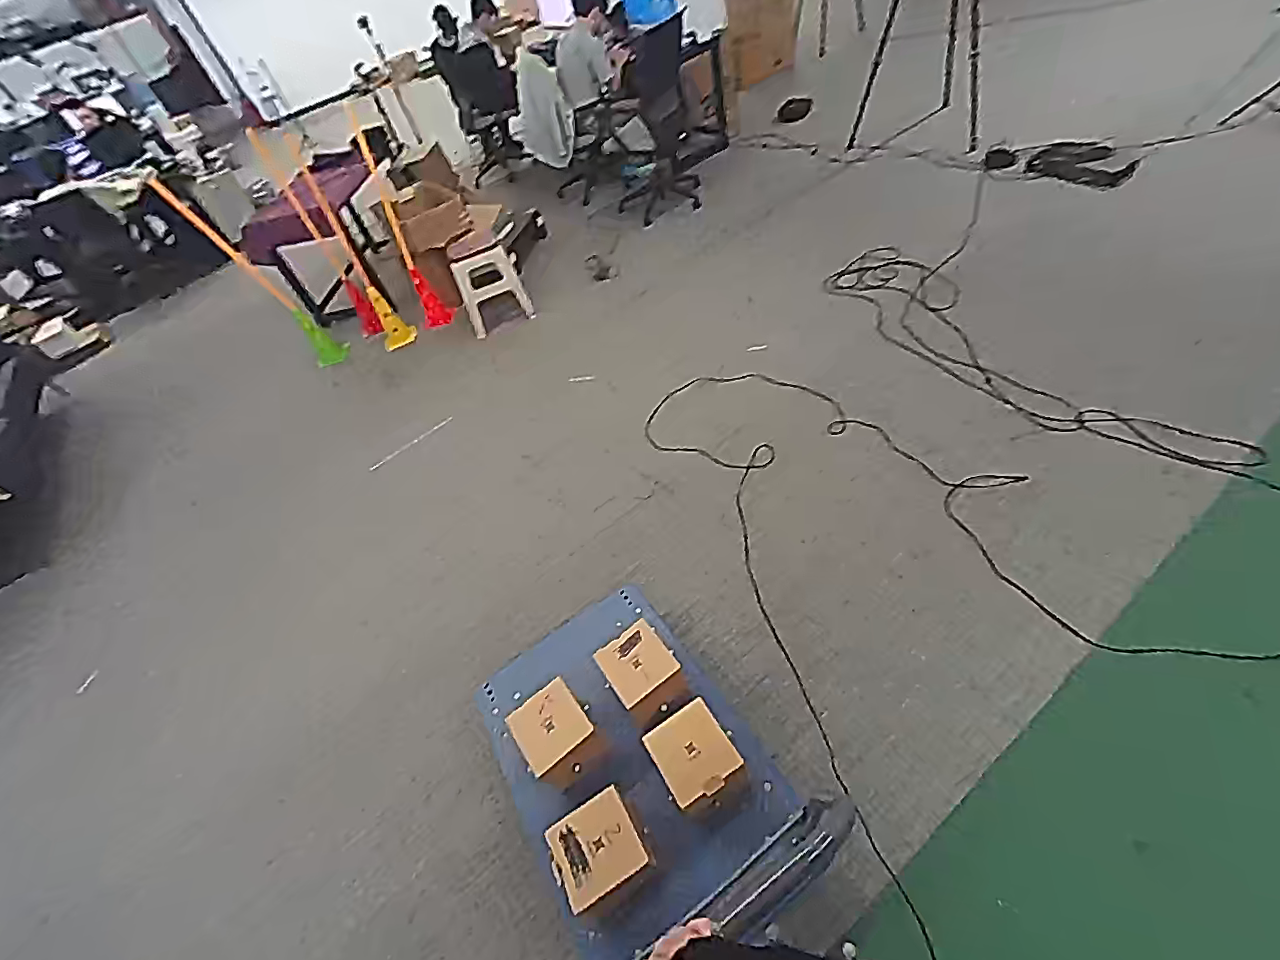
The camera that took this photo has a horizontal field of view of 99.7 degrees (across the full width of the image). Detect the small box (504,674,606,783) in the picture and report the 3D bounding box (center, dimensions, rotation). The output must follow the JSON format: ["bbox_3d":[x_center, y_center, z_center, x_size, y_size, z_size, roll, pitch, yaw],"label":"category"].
[{"bbox_3d":[-0.207,0.631,1.362,0.168,0.176,0.179,-35,50,-15],"label":"small box"}]

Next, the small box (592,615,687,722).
[{"bbox_3d":[0.003,0.497,1.417,0.168,0.176,0.179,-34,51,-13],"label":"small box"}]

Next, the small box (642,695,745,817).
[{"bbox_3d":[0.127,0.644,1.258,0.168,0.176,0.179,-31,50,-11],"label":"small box"}]
